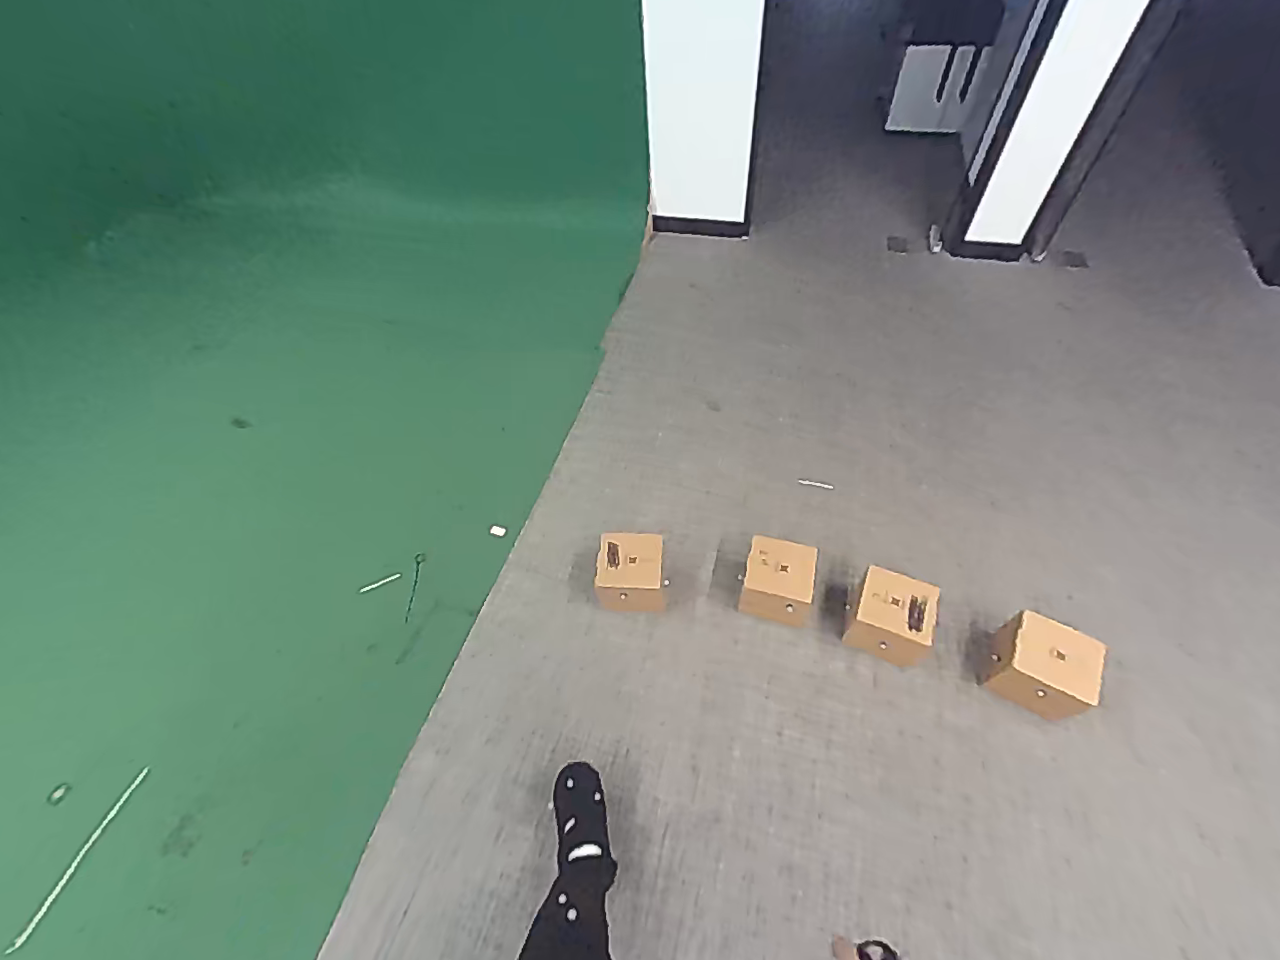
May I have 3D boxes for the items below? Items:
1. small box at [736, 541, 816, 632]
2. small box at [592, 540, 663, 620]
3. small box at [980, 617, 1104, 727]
[{"bbox_3d":[0.368,0.296,1.477,0.179,0.176,0.168,12,54,13],"label":"small box"},{"bbox_3d":[-0.028,0.282,1.517,0.179,0.176,0.168,2,53,5],"label":"small box"},{"bbox_3d":[0.960,0.468,1.304,0.179,0.176,0.168,26,59,21],"label":"small box"}]
